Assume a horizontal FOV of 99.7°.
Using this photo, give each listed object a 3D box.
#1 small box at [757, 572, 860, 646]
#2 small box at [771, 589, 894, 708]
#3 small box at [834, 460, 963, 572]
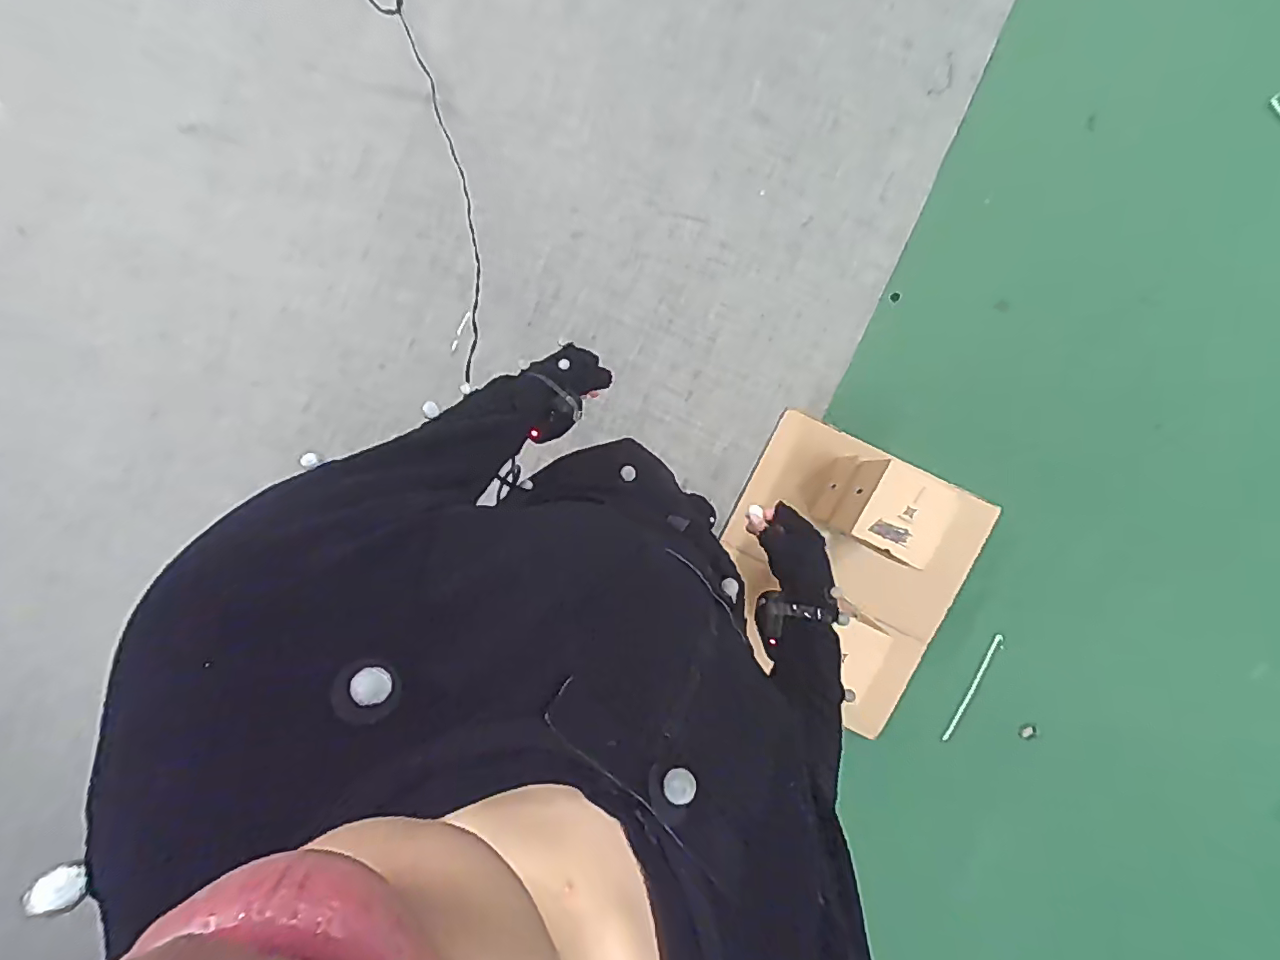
[{"bbox_3d":[0.413,0.346,1.353,0.179,0.176,0.168,25,93,3],"label":"small box"},{"bbox_3d":[0.412,0.357,1.188,0.179,0.176,0.168,27,93,3],"label":"small box"},{"bbox_3d":[0.542,0.073,1.167,0.168,0.176,0.179,29,91,3],"label":"small box"}]
